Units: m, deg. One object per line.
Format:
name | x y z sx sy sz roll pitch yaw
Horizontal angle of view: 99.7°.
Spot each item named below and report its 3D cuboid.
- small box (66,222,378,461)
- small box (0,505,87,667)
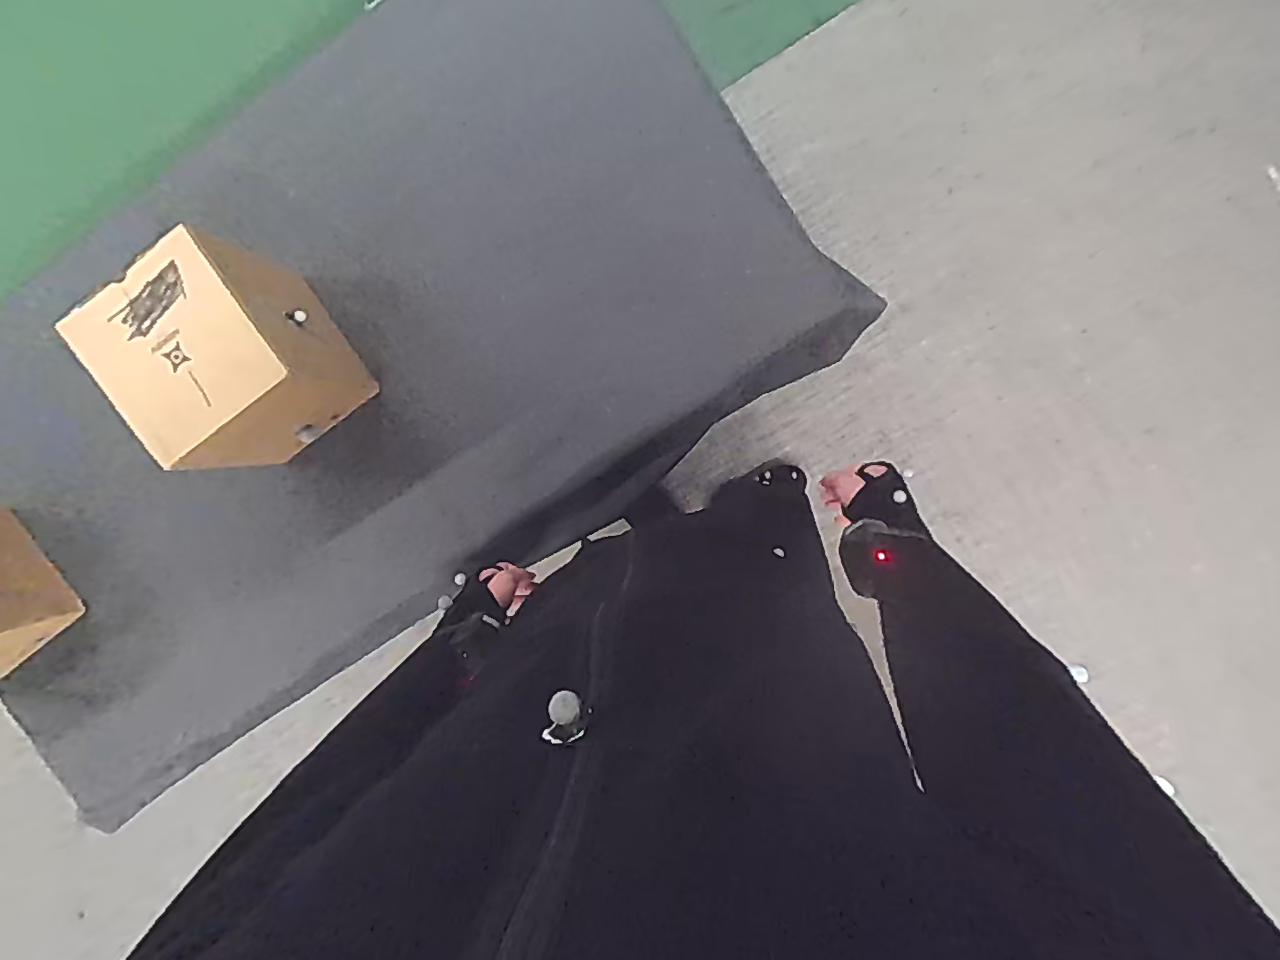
small box | -0.440 -0.137 0.601 0.168 0.176 0.179 -35 93 6
small box | -0.848 0.148 0.649 0.168 0.176 0.179 -37 92 5
